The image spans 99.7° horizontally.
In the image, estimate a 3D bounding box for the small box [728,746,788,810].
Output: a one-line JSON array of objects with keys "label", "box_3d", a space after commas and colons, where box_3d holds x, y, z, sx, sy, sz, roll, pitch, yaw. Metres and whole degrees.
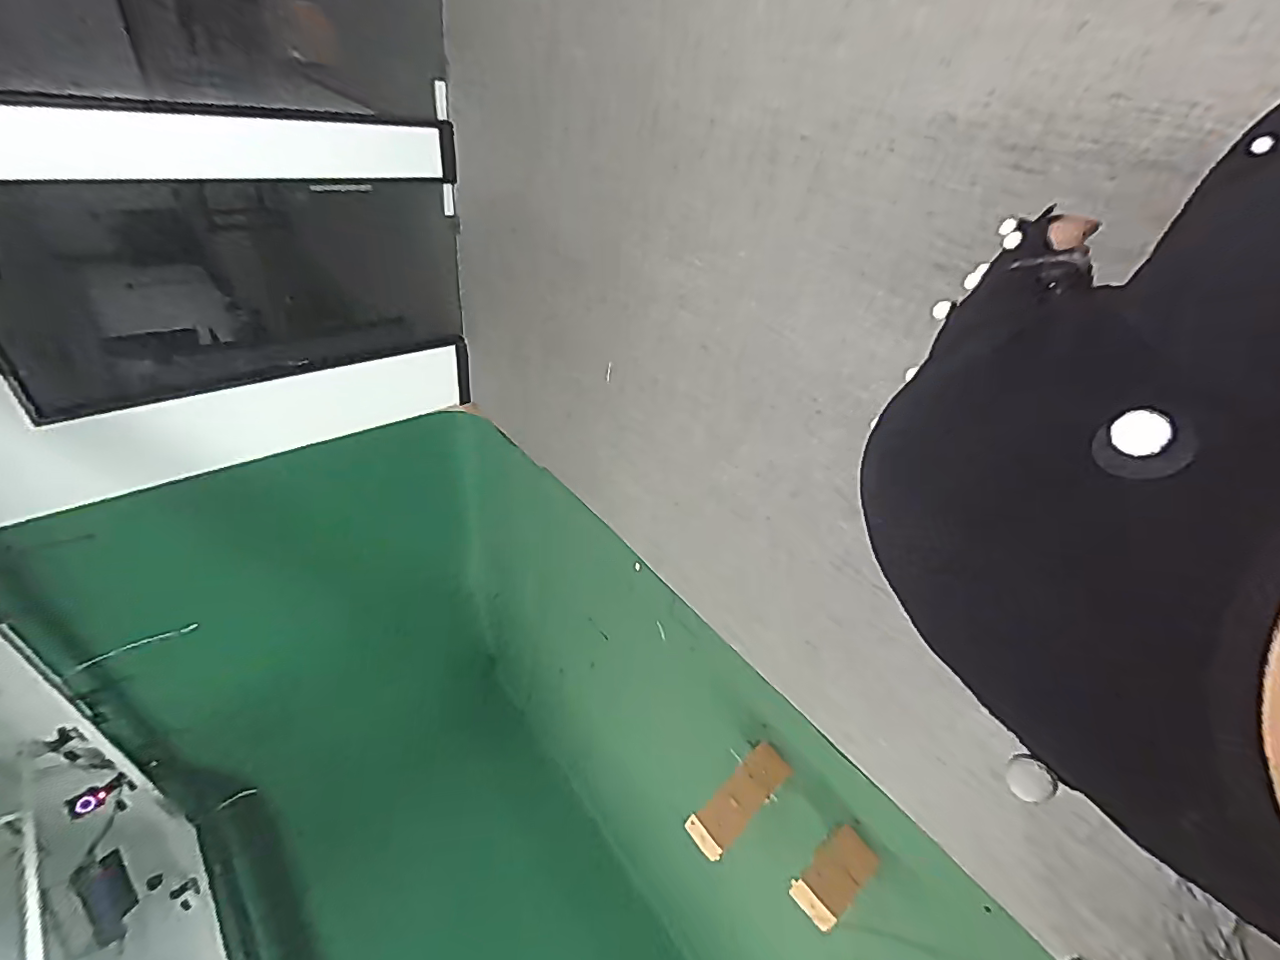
[{"label": "small box", "box_3d": [0.541, 1.357, 2.480, 0.179, 0.176, 0.168, 43, 137, 28]}]

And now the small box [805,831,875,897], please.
[{"label": "small box", "box_3d": [0.828, 1.594, 2.241, 0.179, 0.176, 0.168, 45, 139, 27]}]

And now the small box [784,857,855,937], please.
[{"label": "small box", "box_3d": [0.710, 1.638, 2.138, 0.179, 0.176, 0.168, 38, 136, 33]}]

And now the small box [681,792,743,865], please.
[{"label": "small box", "box_3d": [0.304, 1.468, 2.282, 0.179, 0.176, 0.168, 42, 138, 29]}]
